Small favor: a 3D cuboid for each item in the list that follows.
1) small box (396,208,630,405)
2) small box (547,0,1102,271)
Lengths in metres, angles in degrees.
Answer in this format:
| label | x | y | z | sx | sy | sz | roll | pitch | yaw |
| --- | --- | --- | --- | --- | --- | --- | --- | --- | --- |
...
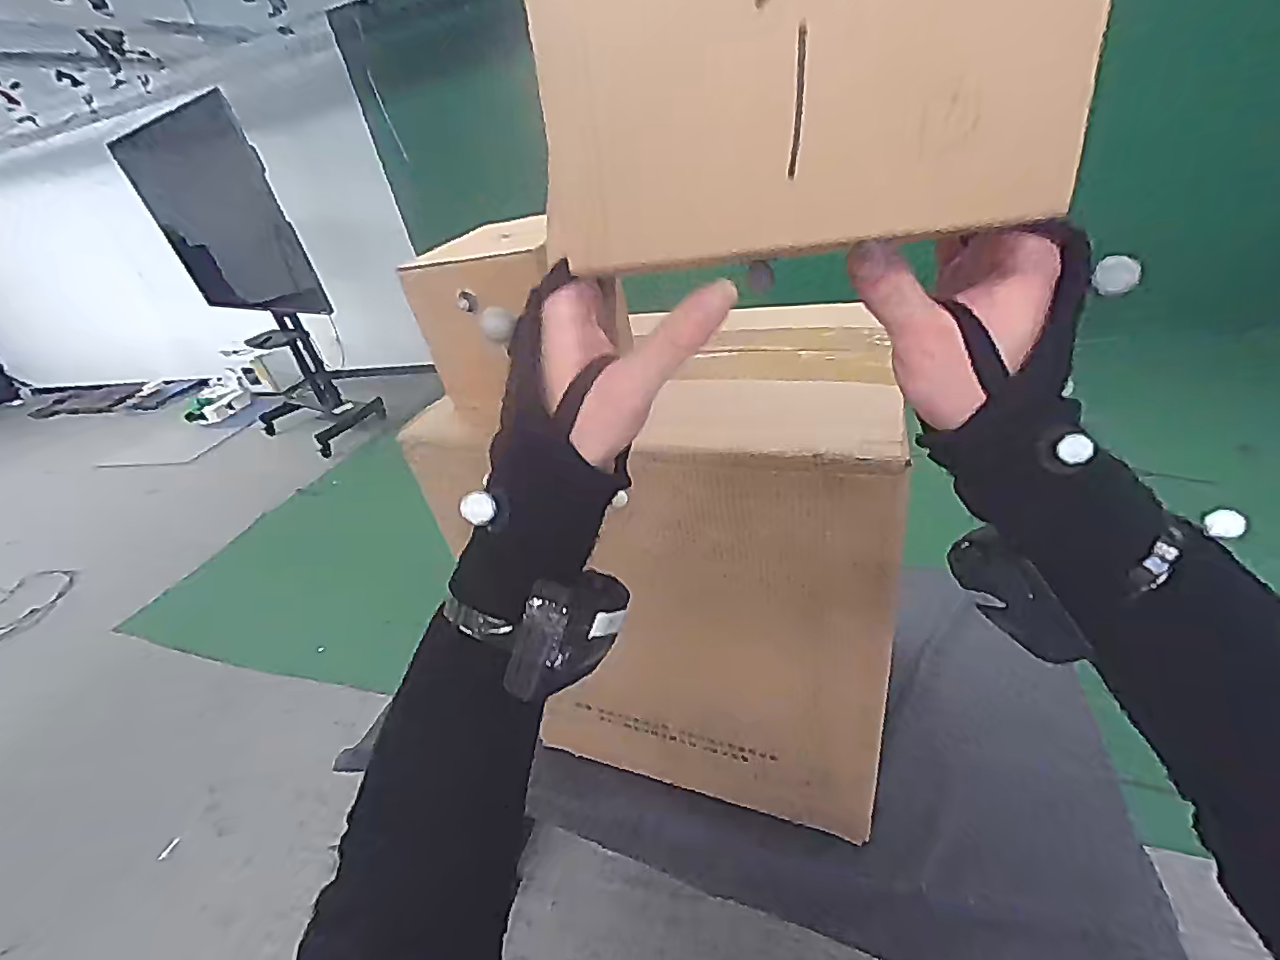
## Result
| label | x | y | z | sx | sy | sz | roll | pitch | yaw |
| --- | --- | --- | --- | --- | --- | --- | --- | --- | --- |
| small box | -0.130 | -0.198 | 0.620 | 0.179 | 0.176 | 0.168 | 6 | 40 | 22 |
| small box | 0.059 | -0.190 | 0.232 | 0.168 | 0.179 | 0.176 | -2 | 20 | 9 |
